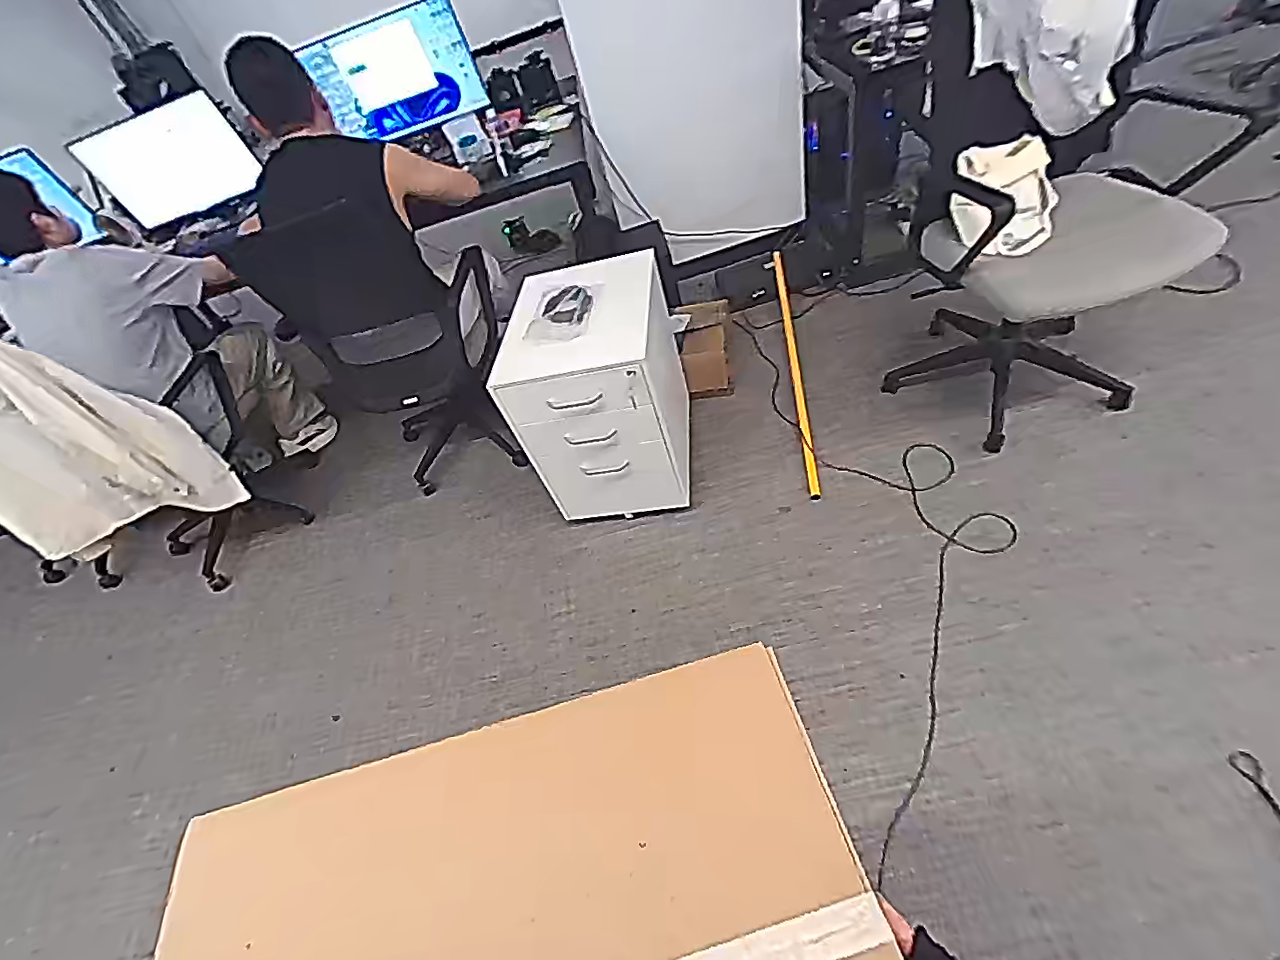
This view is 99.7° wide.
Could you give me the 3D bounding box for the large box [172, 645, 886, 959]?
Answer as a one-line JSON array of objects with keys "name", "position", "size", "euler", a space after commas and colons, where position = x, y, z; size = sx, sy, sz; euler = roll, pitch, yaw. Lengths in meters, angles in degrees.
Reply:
[{"name": "large box", "position": [-0.047, 0.376, 0.406], "size": [0.408, 0.320, 0.320], "euler": [-17, 52, -3]}]
